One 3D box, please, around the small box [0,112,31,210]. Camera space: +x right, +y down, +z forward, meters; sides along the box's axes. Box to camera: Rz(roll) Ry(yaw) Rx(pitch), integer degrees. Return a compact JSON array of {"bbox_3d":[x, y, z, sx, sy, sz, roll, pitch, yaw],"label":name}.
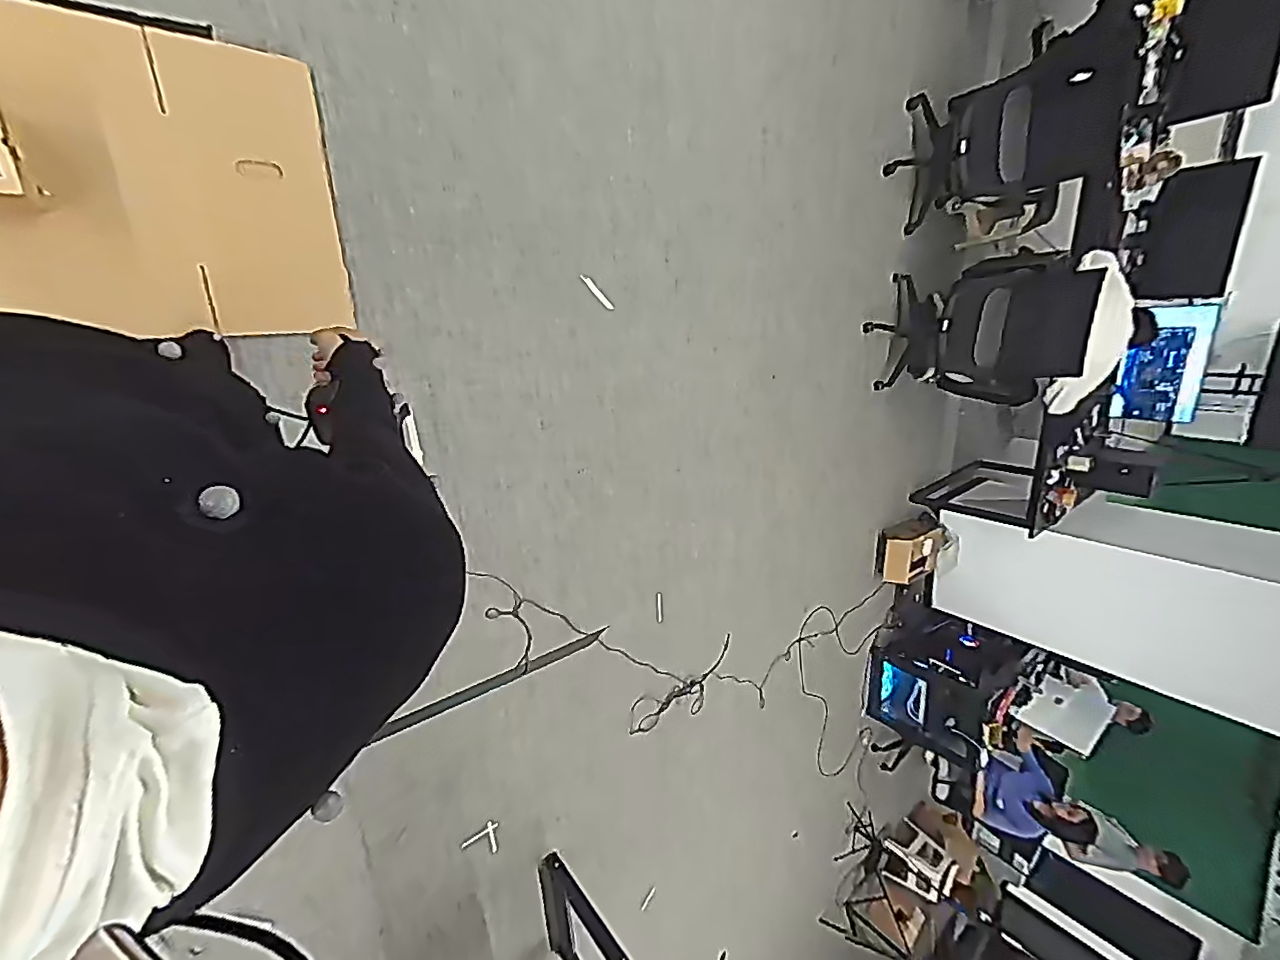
[{"bbox_3d":[-1.193,-0.567,0.920,0.179,0.176,0.168,-14,110,-35],"label":"small box"}]
